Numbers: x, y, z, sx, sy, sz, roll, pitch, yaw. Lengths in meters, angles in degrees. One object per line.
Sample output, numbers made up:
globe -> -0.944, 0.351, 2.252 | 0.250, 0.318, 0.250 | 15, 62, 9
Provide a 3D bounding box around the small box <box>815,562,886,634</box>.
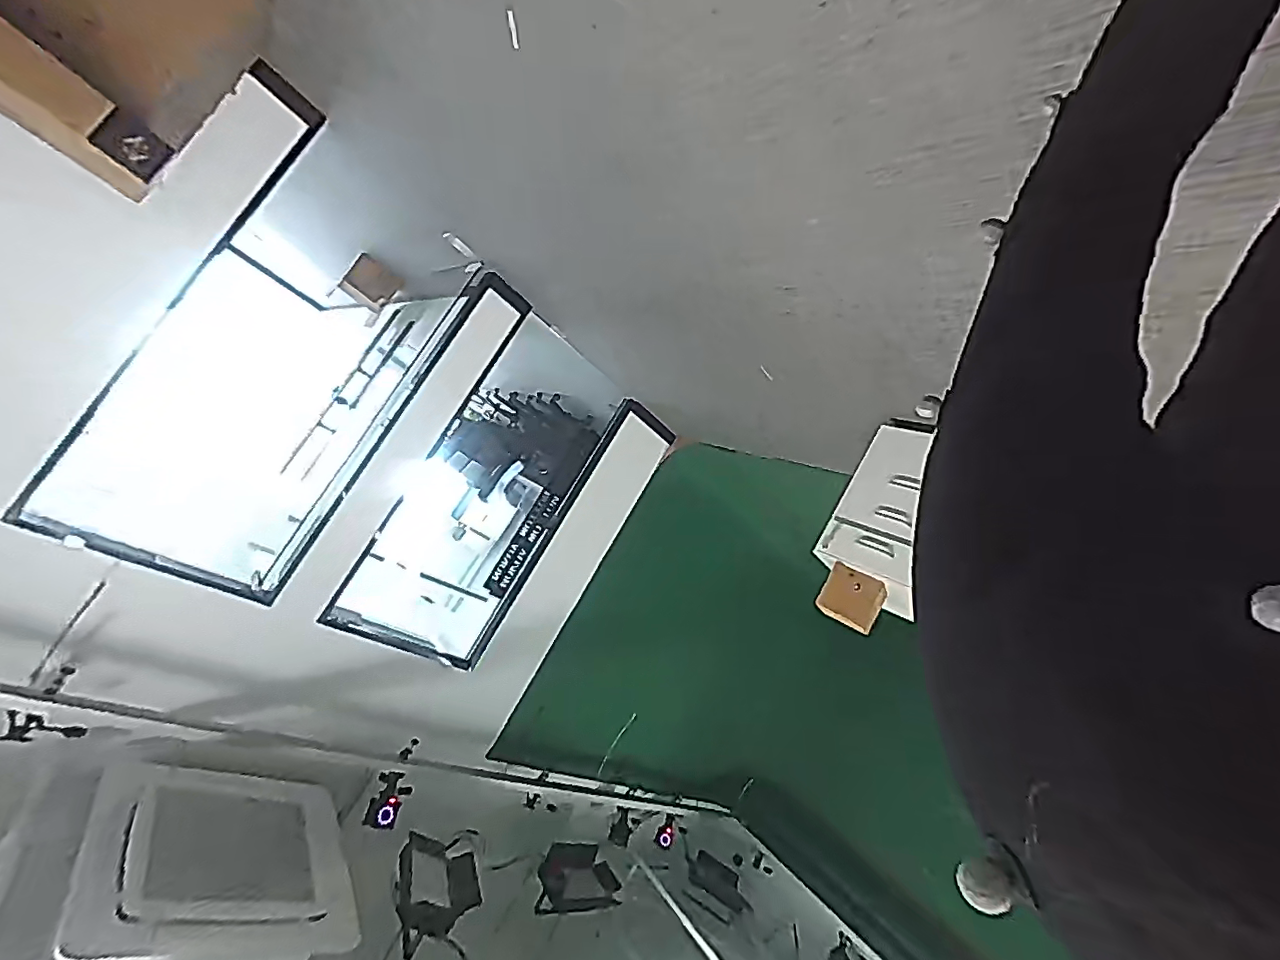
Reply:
small box -> 0.736, 0.407, 1.873 | 0.168, 0.176, 0.179 | 25, 170, 35
